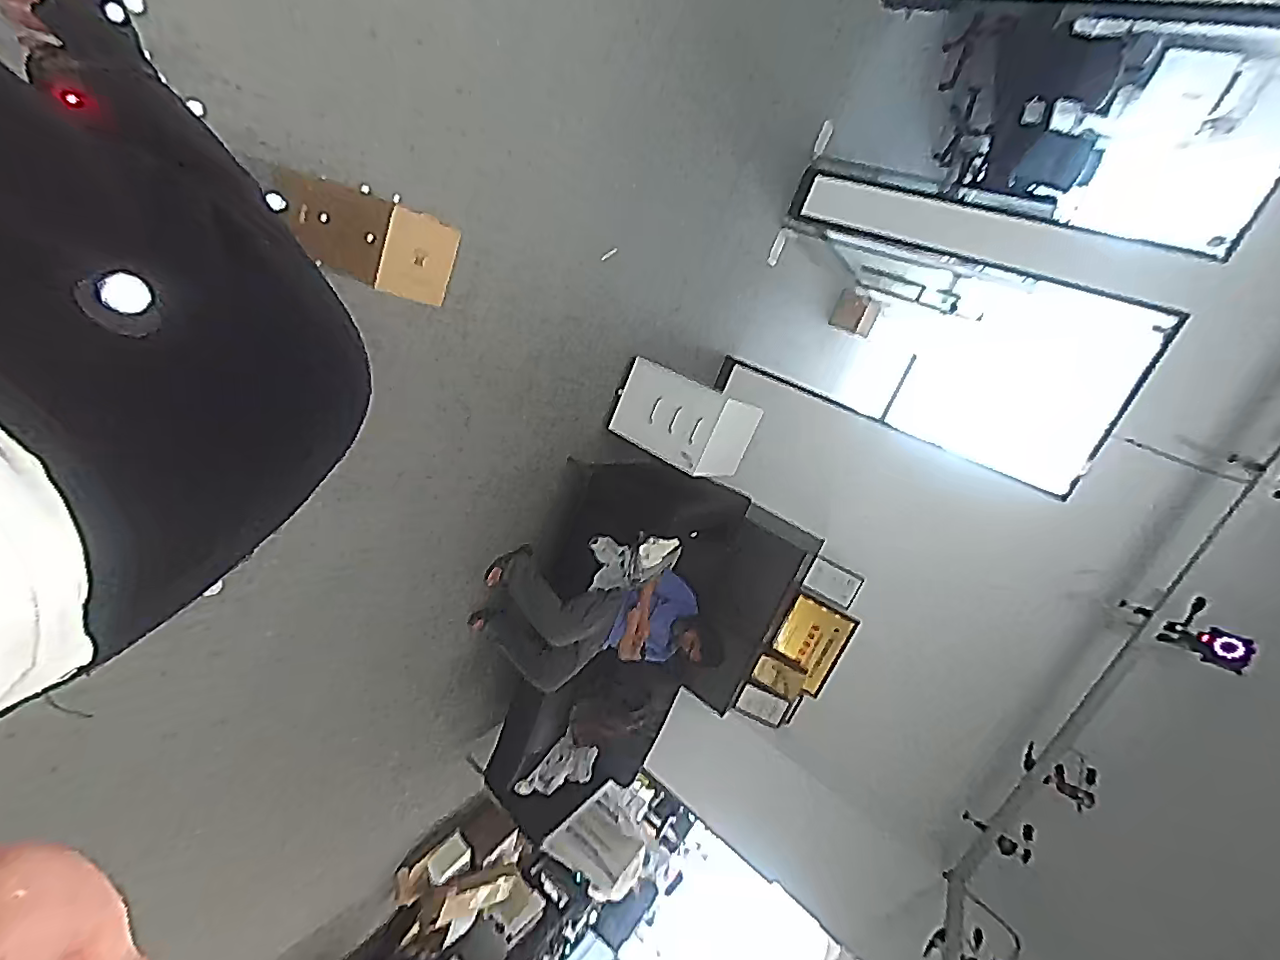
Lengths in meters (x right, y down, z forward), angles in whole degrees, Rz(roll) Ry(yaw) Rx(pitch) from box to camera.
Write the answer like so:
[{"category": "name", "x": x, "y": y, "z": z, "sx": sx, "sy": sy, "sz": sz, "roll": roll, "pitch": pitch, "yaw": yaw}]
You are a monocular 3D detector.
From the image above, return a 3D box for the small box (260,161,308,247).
[{"category": "small box", "x": -0.795, "y": -0.657, "z": 1.330, "sx": 0.179, "sy": 0.176, "sz": 0.168, "roll": -5, "pitch": 122, "yaw": -59}]

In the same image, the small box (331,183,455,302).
[{"category": "small box", "x": -0.542, "y": -0.517, "z": 1.179, "sx": 0.168, "sy": 0.176, "sz": 0.179, "roll": -5, "pitch": 123, "yaw": -58}]

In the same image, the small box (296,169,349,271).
[{"category": "small box", "x": -0.666, "y": -0.587, "z": 1.255, "sx": 0.168, "sy": 0.176, "sz": 0.179, "roll": -7, "pitch": 123, "yaw": -59}]
